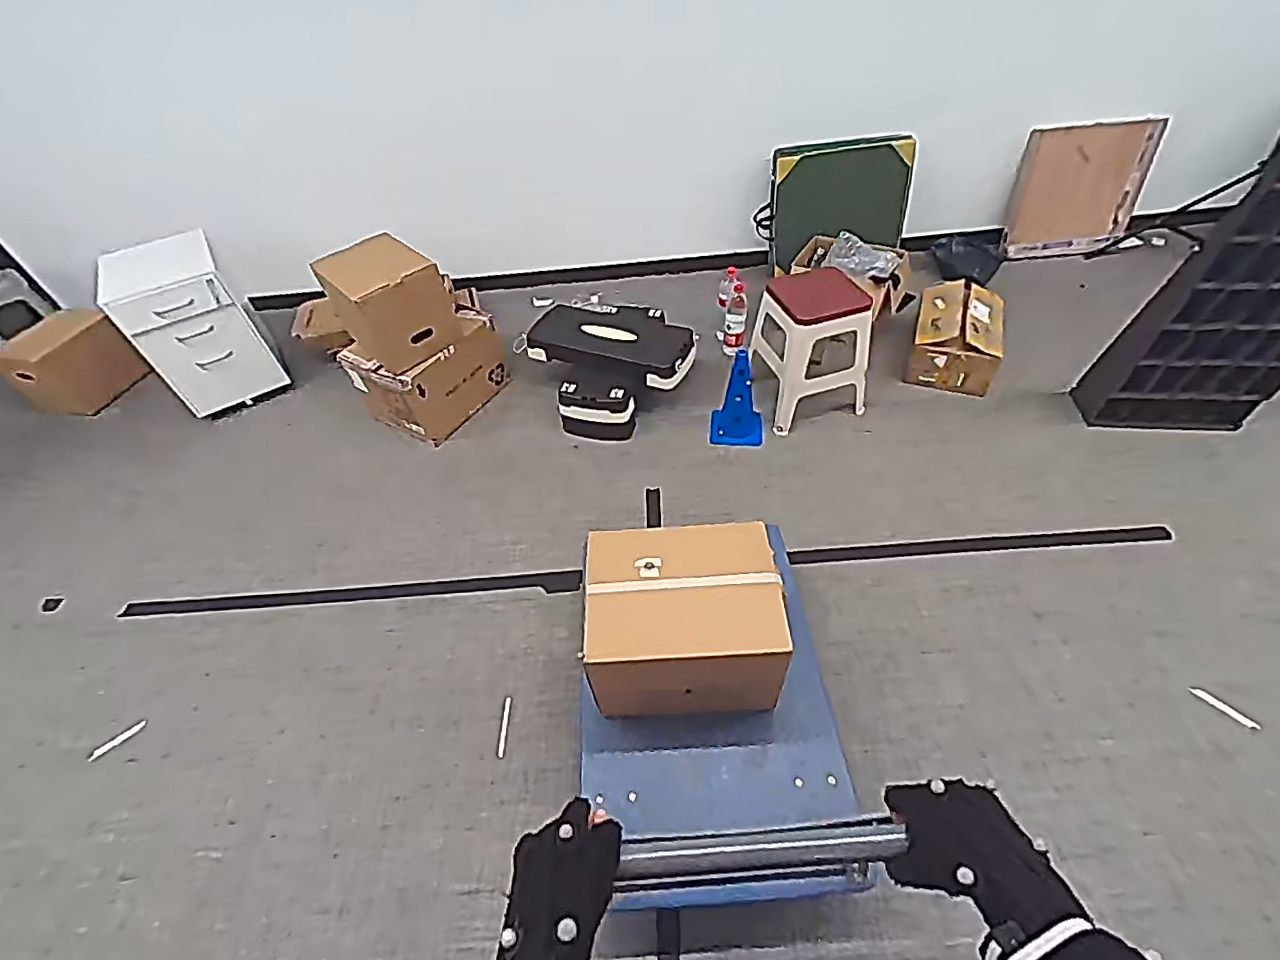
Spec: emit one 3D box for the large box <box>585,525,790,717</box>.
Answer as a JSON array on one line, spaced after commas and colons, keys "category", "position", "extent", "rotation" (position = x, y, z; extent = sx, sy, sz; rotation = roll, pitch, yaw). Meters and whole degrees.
[{"category": "large box", "position": [0.099, 0.331, 1.247], "extent": [0.408, 0.320, 0.320], "rotation": [-5, 48, 3]}]
